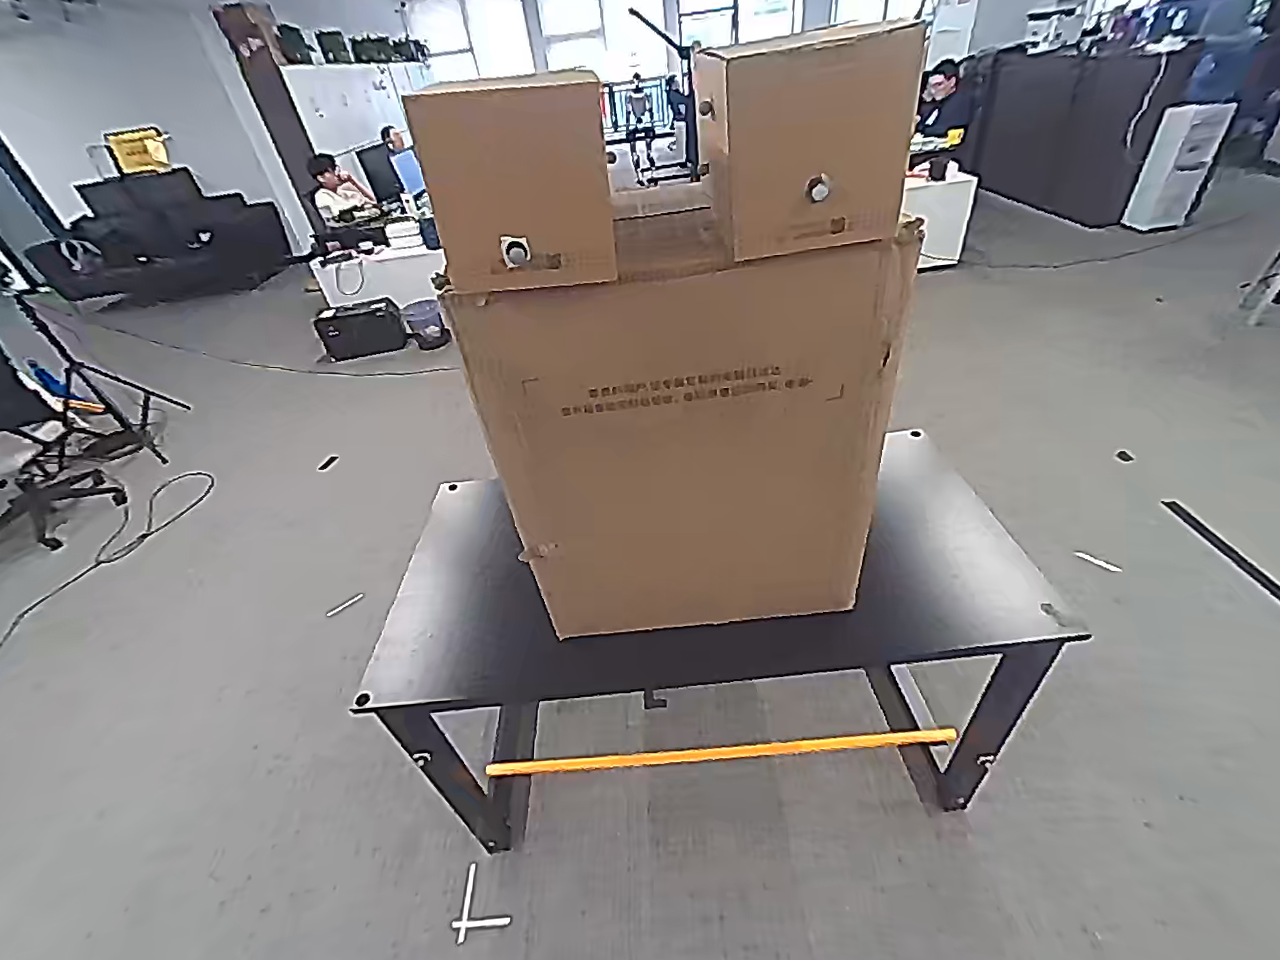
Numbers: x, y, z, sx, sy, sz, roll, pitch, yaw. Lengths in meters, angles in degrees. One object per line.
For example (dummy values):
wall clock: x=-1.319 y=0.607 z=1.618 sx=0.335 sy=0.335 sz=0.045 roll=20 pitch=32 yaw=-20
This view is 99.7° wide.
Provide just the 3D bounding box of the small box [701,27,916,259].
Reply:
small box: x=0.156 y=-0.349 z=0.564 sx=0.168 sy=0.176 sz=0.179 roll=-8 pitch=40 yaw=5
